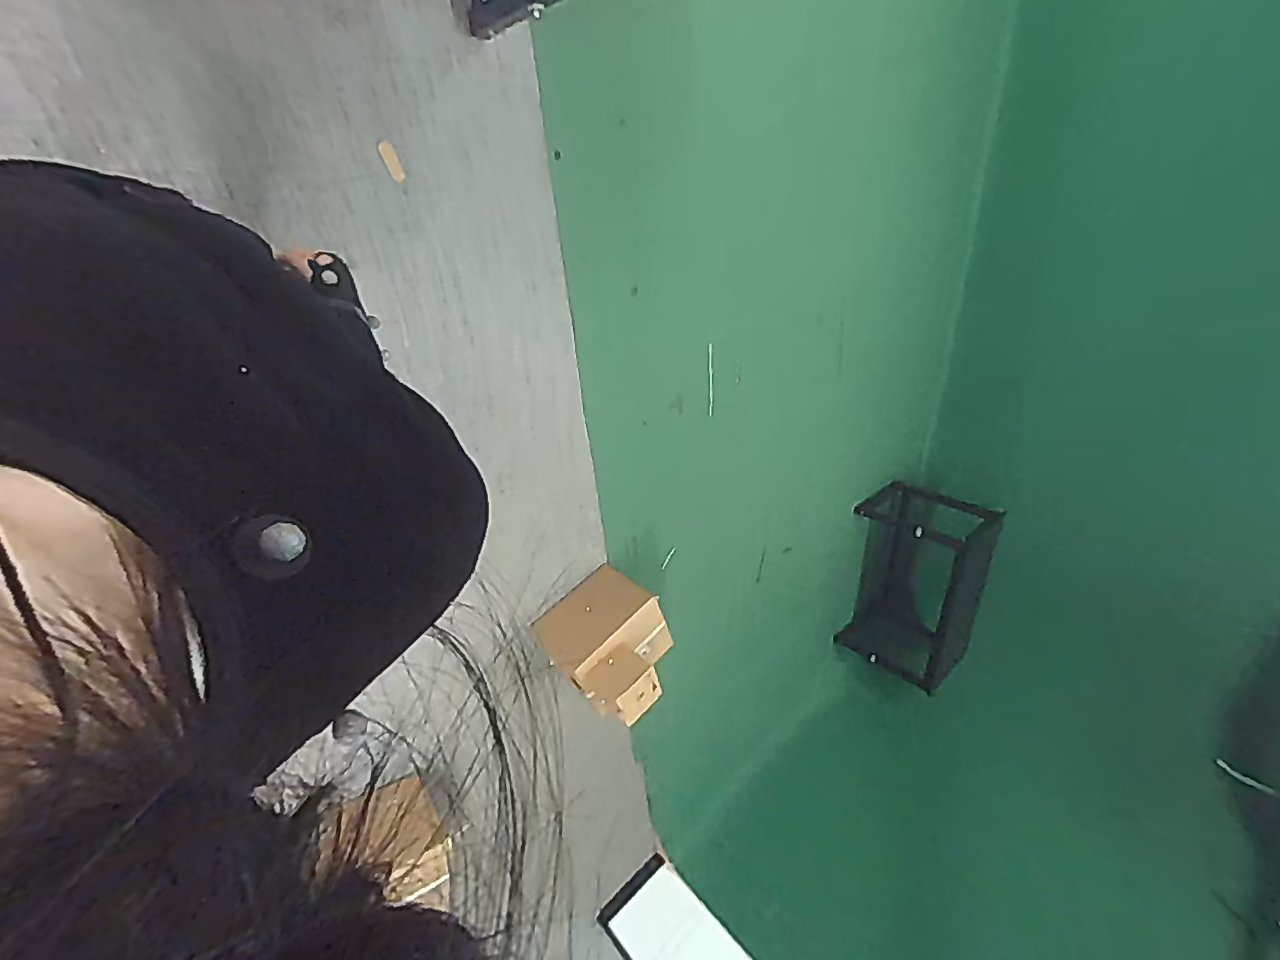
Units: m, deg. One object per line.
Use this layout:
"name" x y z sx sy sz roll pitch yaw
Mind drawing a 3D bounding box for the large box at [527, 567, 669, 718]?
"large box" -0.159 0.622 2.118 0.408 0.320 0.320 -40 132 -26

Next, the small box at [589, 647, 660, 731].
"small box" -0.061 0.729 1.901 0.179 0.176 0.168 -35 128 -28
